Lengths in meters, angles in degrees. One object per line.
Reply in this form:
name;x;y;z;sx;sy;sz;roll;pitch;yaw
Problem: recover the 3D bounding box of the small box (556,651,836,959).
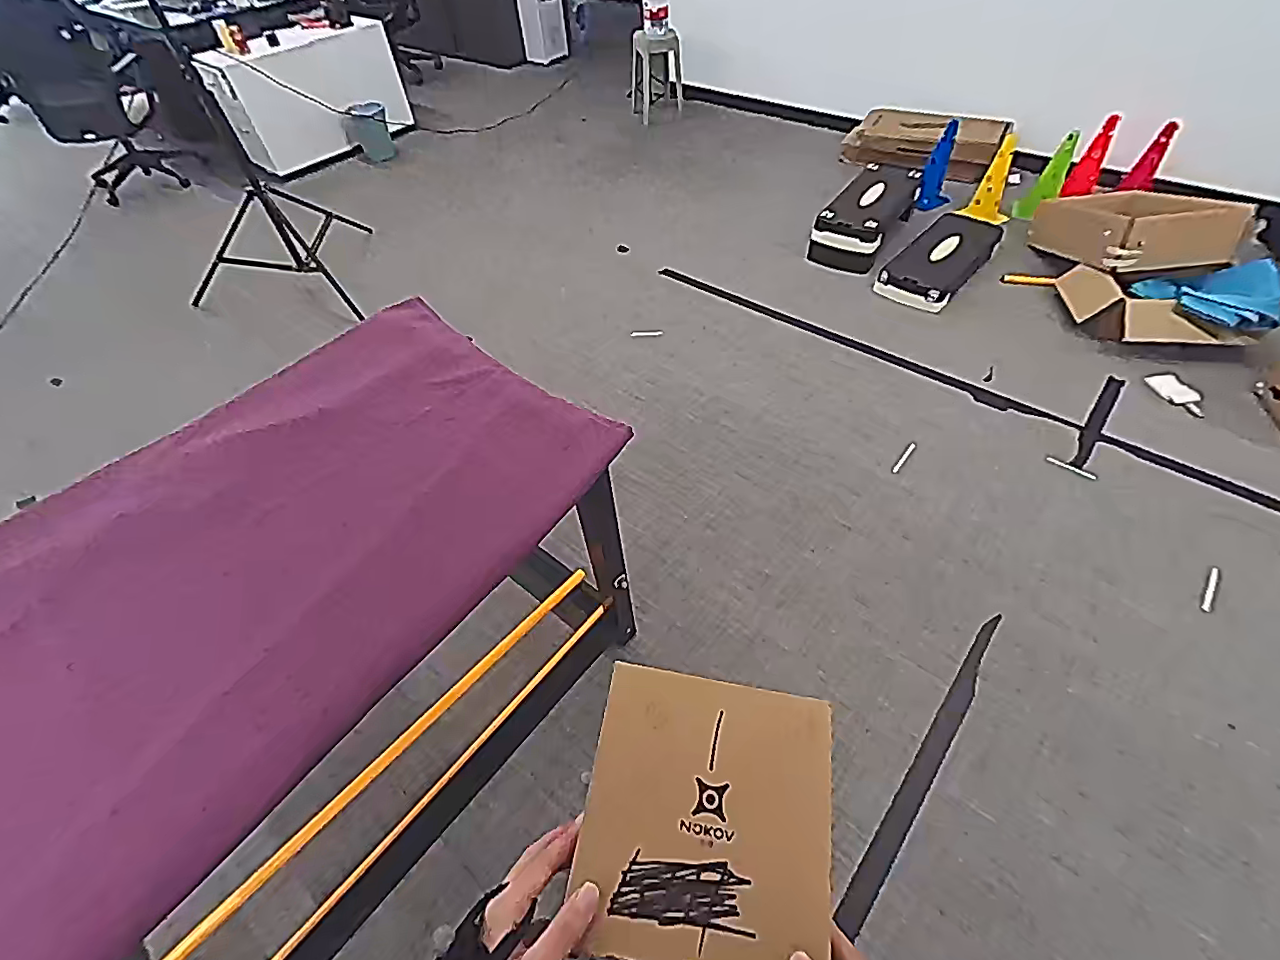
small box;0.046;0.258;0.424;0.168;0.176;0.179;9;57;6
